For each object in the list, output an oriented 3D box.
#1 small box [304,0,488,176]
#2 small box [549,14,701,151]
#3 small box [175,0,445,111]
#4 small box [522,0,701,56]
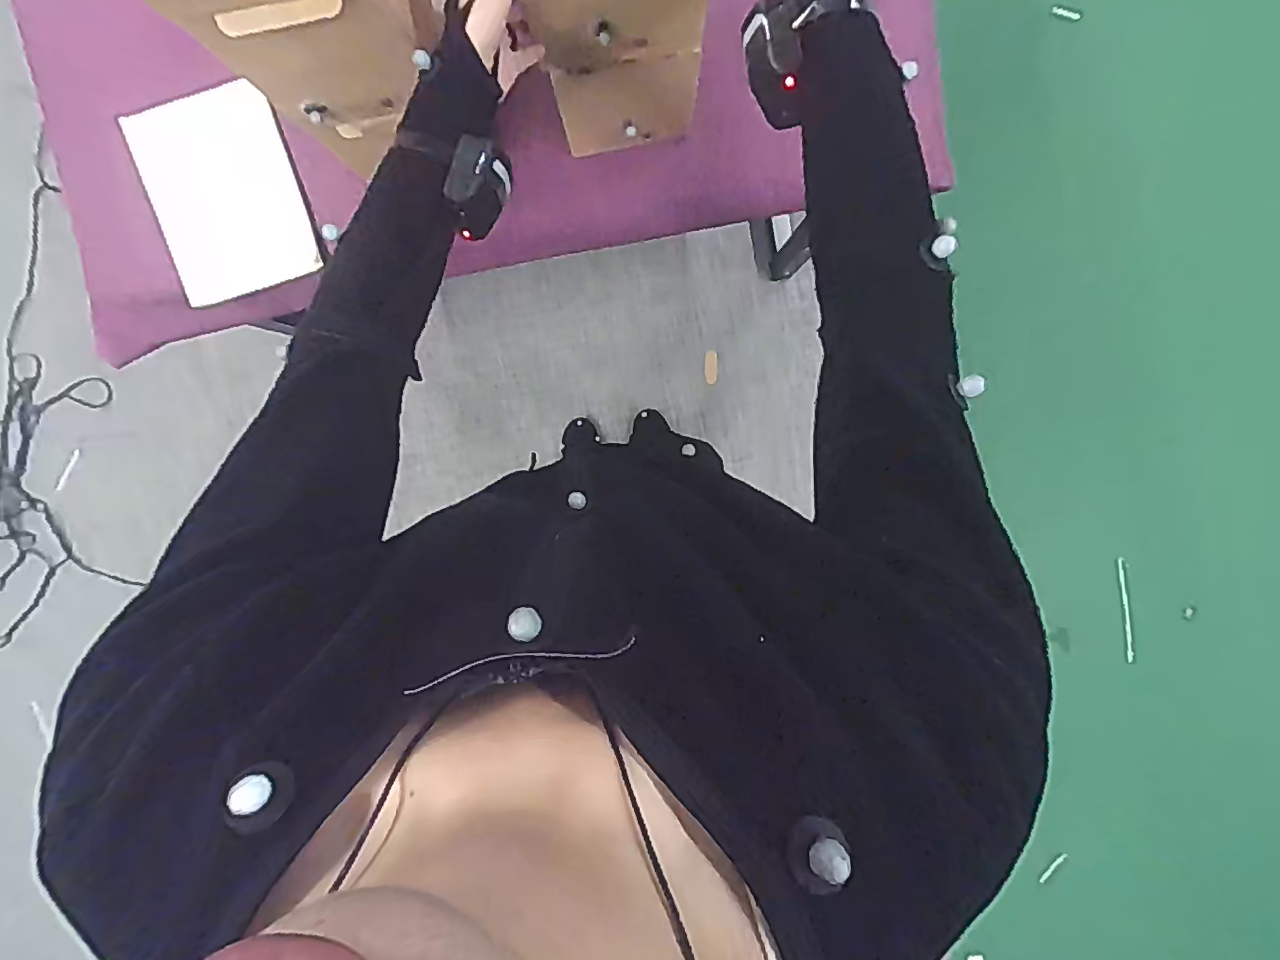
[{"bbox_3d":[-0.298,-0.498,0.659,0.168,0.176,0.179,-10,97,1],"label":"small box"},{"bbox_3d":[-0.027,-0.540,0.652,0.168,0.176,0.179,-10,95,2],"label":"small box"},{"bbox_3d":[-0.298,-0.475,0.496,0.168,0.176,0.179,-10,95,1],"label":"small box"},{"bbox_3d":[-0.033,-0.506,0.457,0.168,0.176,0.179,-8,107,0],"label":"small box"}]
